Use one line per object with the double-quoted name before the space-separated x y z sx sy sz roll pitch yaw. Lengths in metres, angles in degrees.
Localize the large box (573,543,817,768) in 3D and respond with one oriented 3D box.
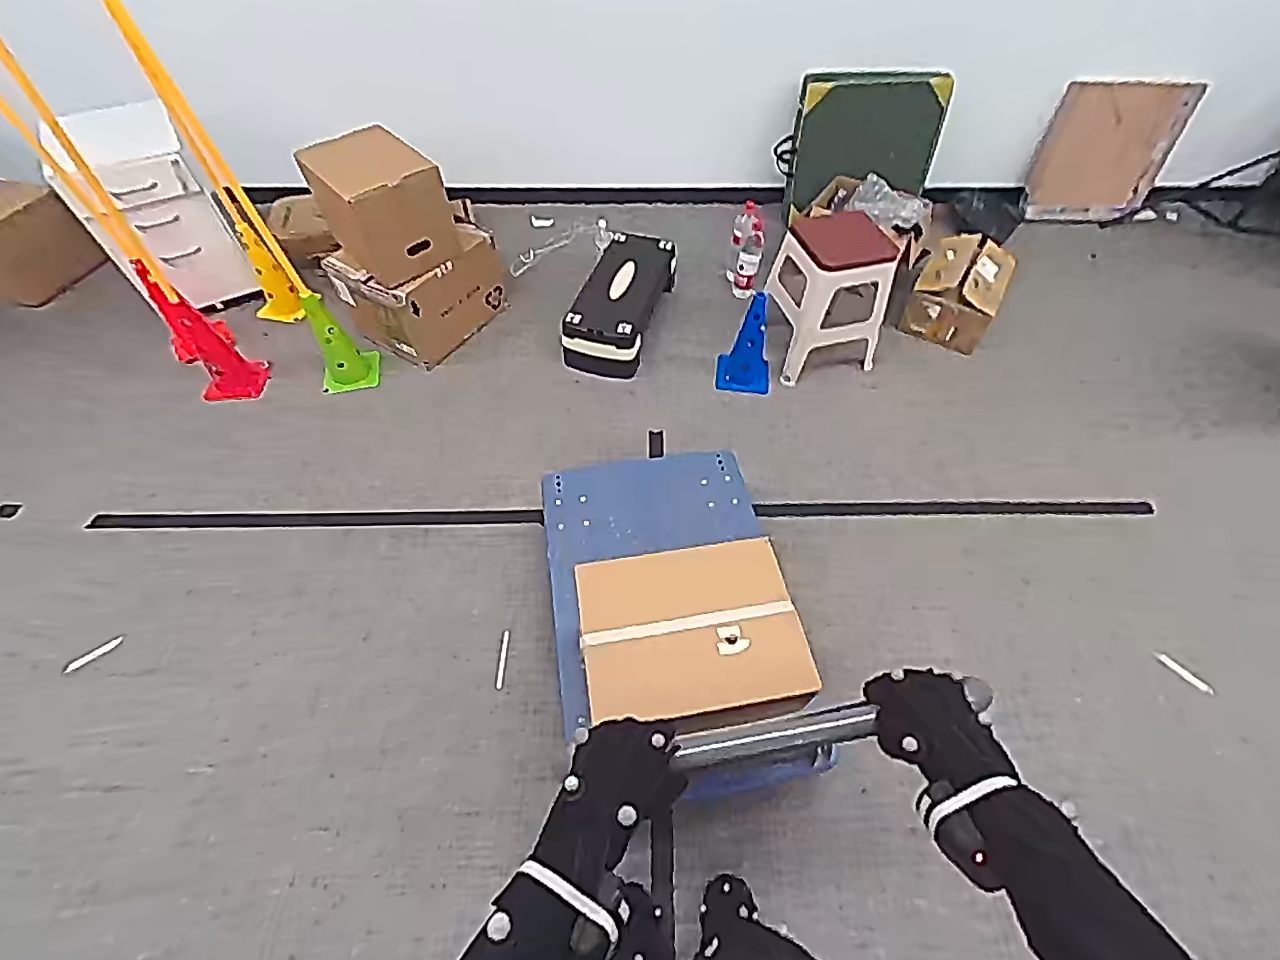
"large box" 0.085 0.367 1.119 0.408 0.320 0.320 -7 55 -7
